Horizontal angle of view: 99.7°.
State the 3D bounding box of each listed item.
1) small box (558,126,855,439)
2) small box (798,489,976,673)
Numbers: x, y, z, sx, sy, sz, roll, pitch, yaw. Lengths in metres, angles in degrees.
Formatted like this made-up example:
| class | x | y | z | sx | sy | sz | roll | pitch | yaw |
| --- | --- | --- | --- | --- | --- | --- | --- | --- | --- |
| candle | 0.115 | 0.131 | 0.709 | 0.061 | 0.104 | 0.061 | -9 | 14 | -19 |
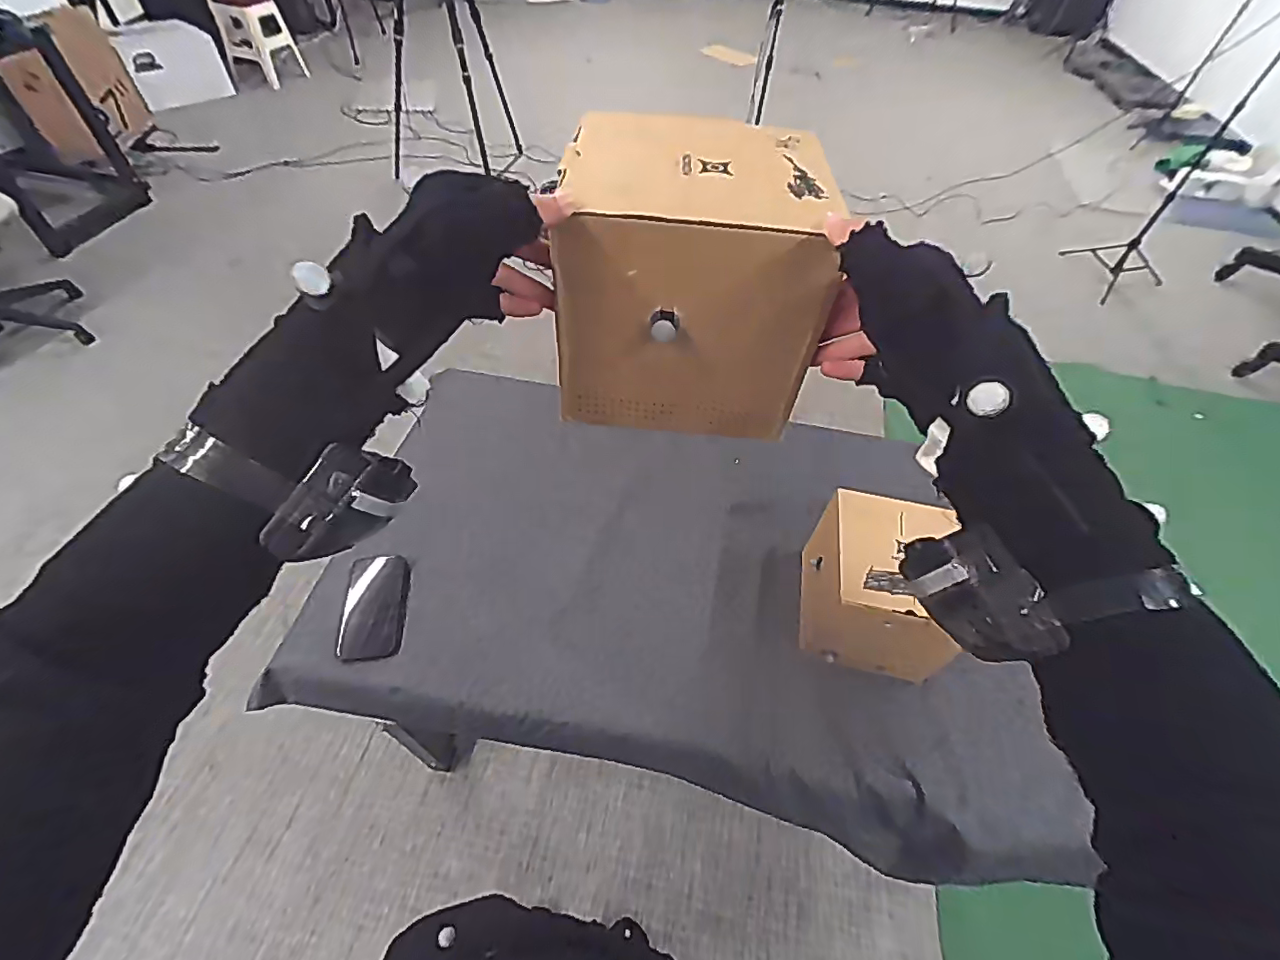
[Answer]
| class | x | y | z | sx | sy | sz | roll | pitch | yaw |
| --- | --- | --- | --- | --- | --- | --- | --- | --- | --- |
| small box | 0.039 | -0.148 | 0.421 | 0.179 | 0.176 | 0.168 | 5 | 50 | -1 |
| small box | 0.324 | 0.143 | 0.747 | 0.168 | 0.176 | 0.179 | 12 | 50 | 5 |
